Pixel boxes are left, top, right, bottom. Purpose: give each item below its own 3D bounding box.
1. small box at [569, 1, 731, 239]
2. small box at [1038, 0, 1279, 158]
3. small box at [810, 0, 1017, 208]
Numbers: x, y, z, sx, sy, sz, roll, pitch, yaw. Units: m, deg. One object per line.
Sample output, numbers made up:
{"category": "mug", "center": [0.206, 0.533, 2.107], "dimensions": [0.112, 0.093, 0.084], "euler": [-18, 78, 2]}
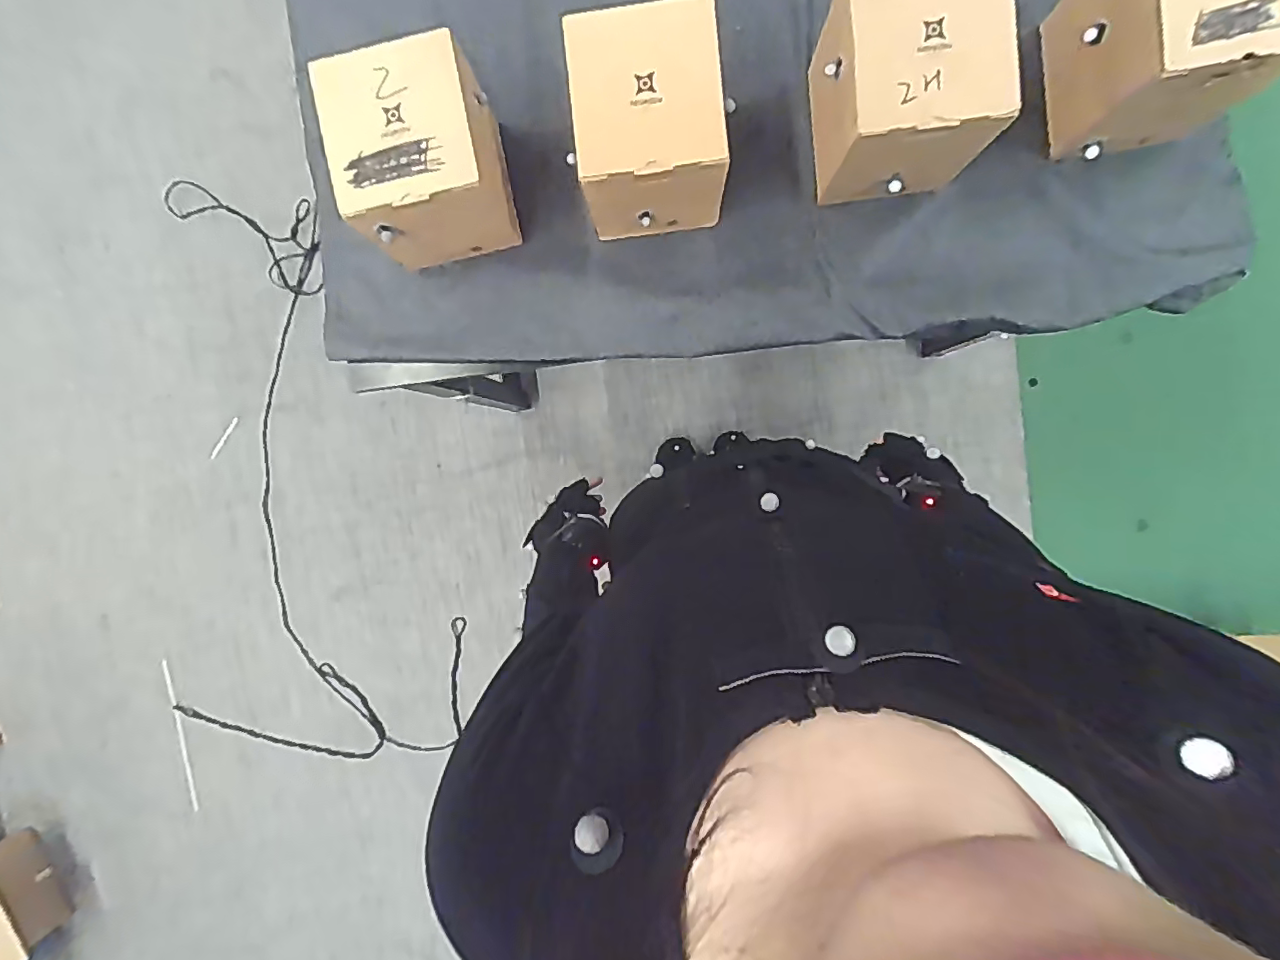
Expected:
{"category": "small box", "center": [0.013, -0.422, 0.662], "dimensions": [0.168, 0.176, 0.179], "euler": [-6, 93, 3]}
{"category": "small box", "center": [0.604, -0.503, 0.627], "dimensions": [0.168, 0.176, 0.179], "euler": [-6, 92, 3]}
{"category": "small box", "center": [0.309, -0.456, 0.644], "dimensions": [0.168, 0.176, 0.179], "euler": [-5, 93, 3]}
